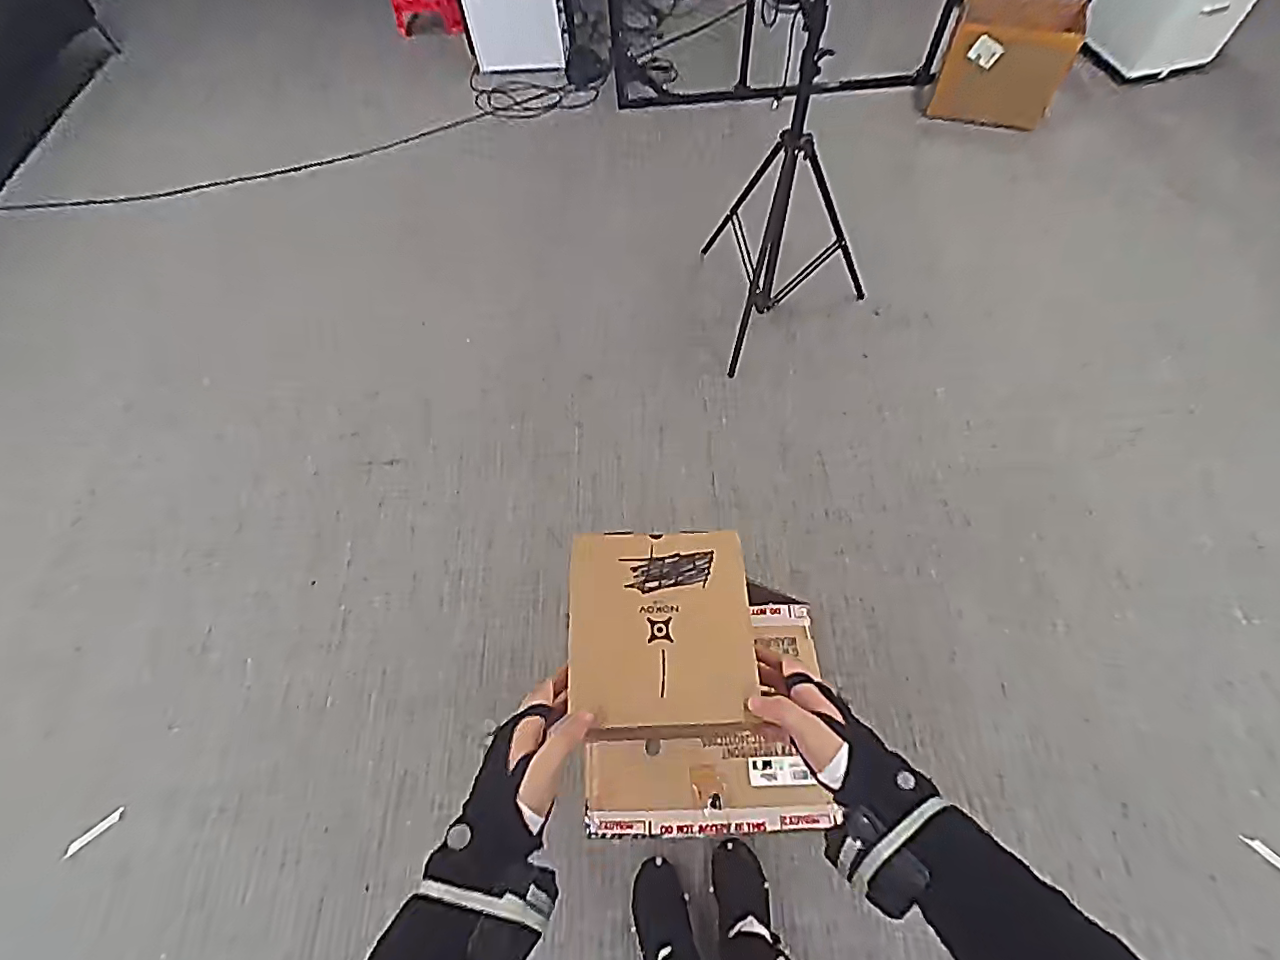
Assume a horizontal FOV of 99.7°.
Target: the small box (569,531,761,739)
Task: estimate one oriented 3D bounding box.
[{"bbox_3d":[0.017,0.167,0.563,0.168,0.176,0.179,-1,61,-2],"label":"small box"}]
